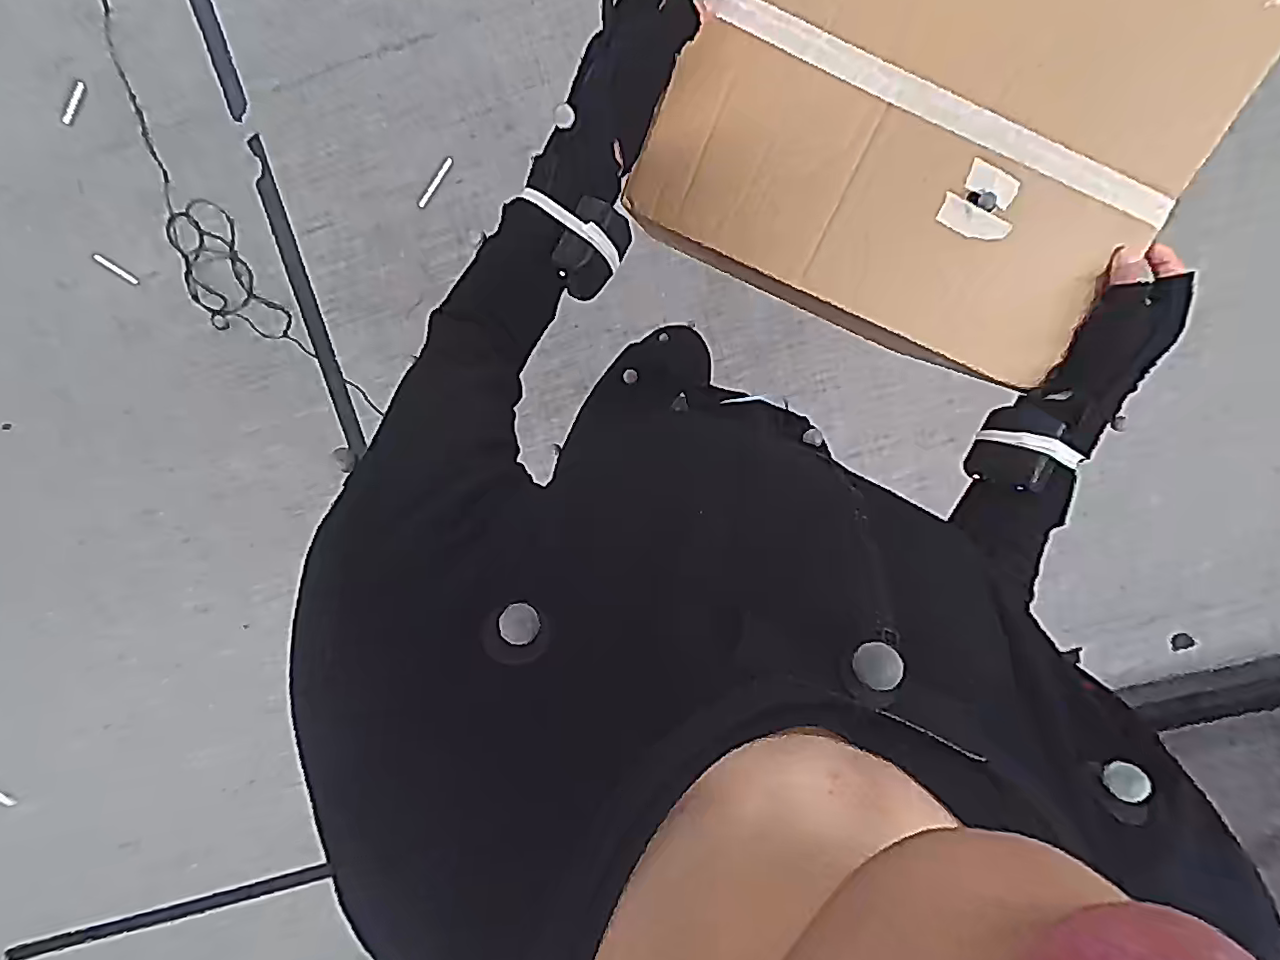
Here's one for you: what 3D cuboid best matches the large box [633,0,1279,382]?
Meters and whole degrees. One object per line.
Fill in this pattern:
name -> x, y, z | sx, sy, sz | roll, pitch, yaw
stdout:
large box -> 0.239, -0.344, 0.568 | 0.408, 0.320, 0.320 | 23, 111, -5
